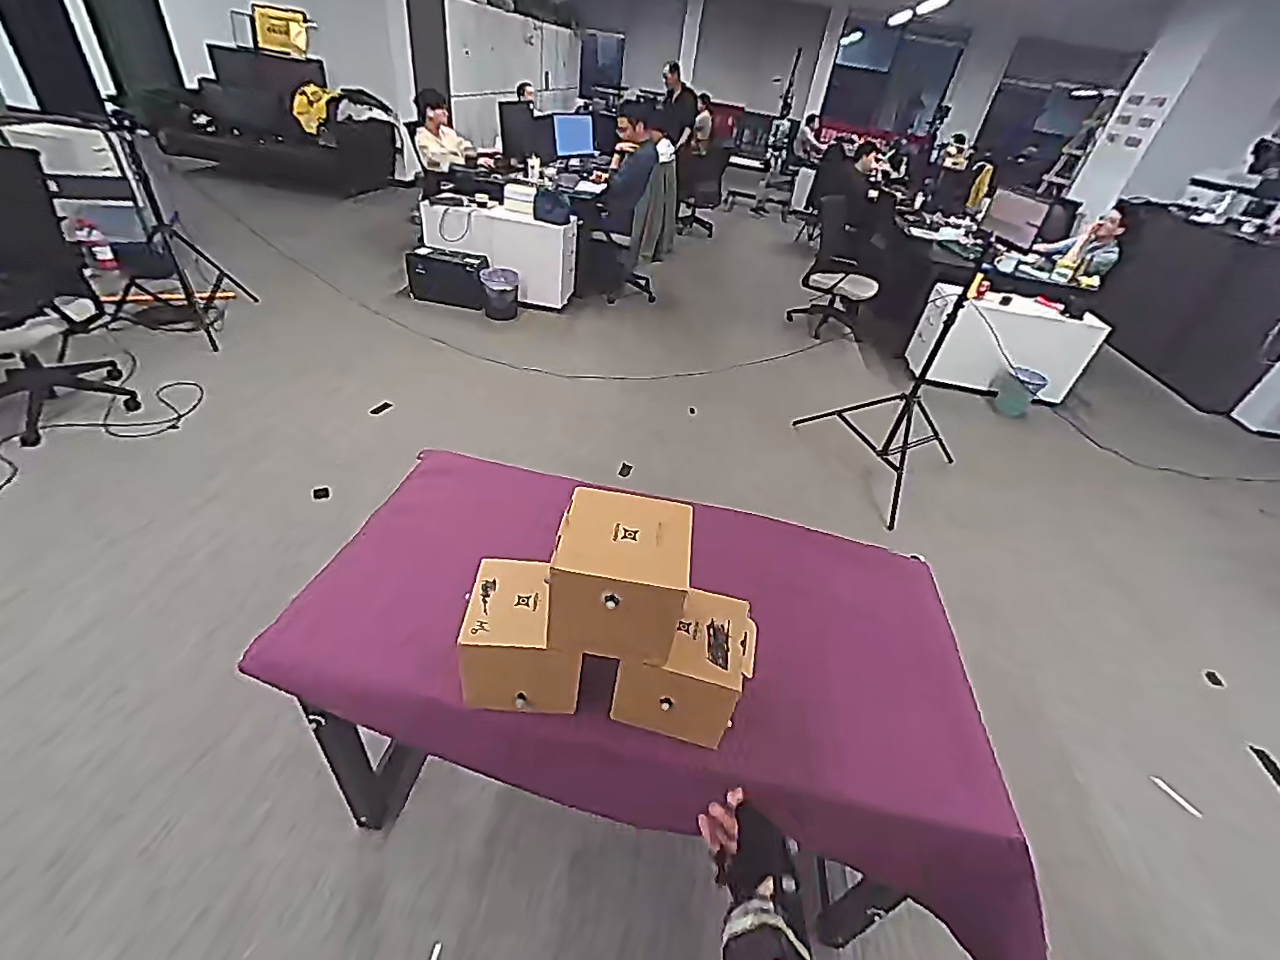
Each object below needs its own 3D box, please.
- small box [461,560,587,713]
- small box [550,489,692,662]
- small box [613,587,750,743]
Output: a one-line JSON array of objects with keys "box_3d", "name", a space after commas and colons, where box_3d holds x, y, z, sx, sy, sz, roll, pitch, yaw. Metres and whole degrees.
[{"box_3d": [-0.176, 0.253, 0.866, 0.179, 0.176, 0.168, 6, 36, -6], "name": "small box"}, {"box_3d": [-0.027, 0.138, 0.777, 0.179, 0.176, 0.168, 10, 38, 0], "name": "small box"}, {"box_3d": [0.065, 0.291, 0.865, 0.179, 0.176, 0.168, 13, 36, 7], "name": "small box"}]
